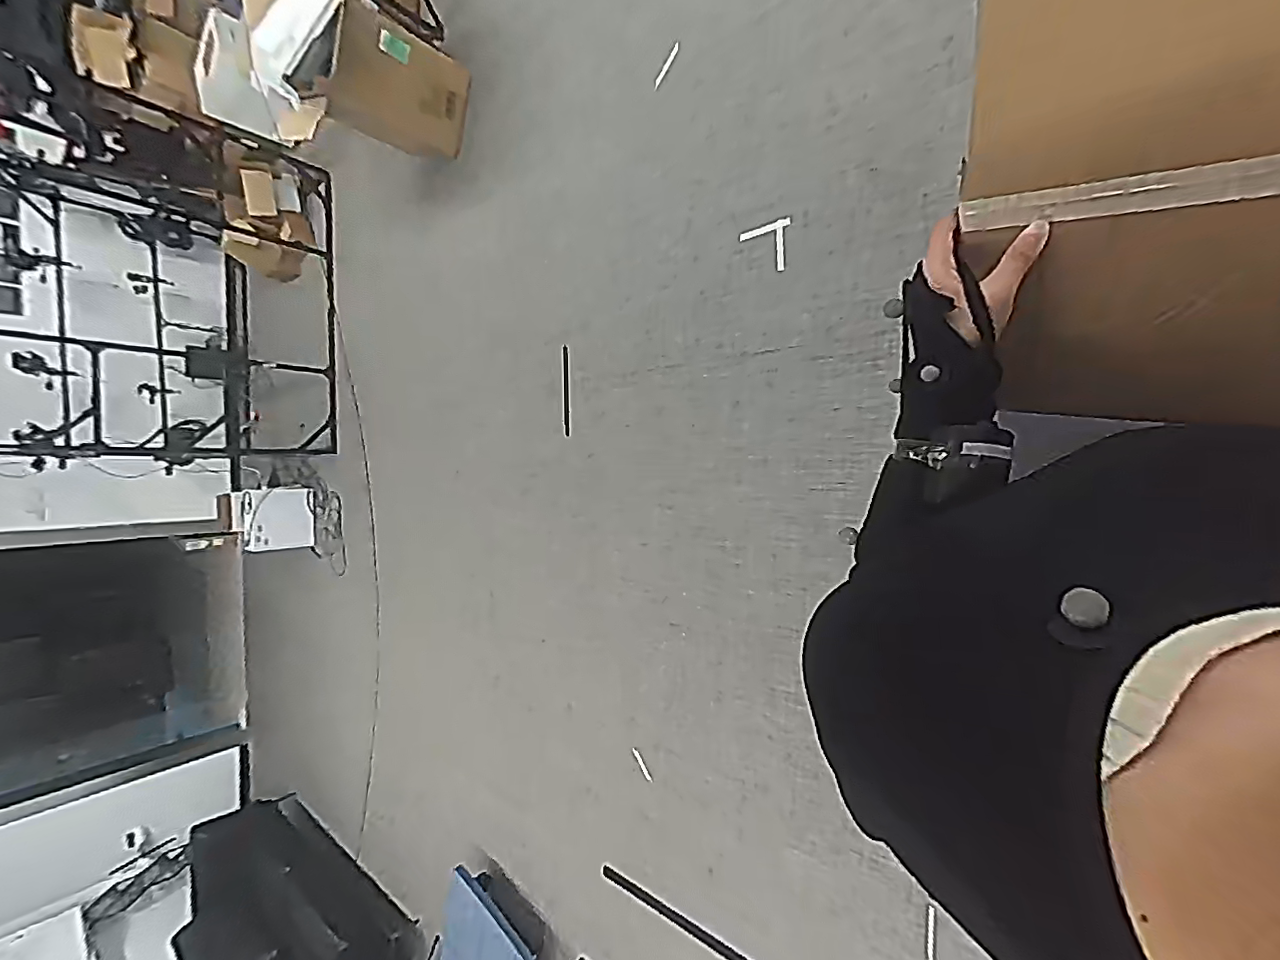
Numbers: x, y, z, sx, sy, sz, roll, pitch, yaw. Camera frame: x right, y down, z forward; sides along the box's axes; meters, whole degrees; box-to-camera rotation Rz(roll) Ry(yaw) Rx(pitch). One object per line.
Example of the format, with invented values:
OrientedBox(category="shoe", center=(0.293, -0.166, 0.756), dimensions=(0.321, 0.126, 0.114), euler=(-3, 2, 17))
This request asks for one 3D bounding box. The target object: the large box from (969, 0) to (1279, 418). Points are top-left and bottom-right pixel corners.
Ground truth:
OrientedBox(category="large box", center=(0.491, -0.242, 0.367), dimensions=(0.408, 0.320, 0.320), euler=(11, 128, 41))
